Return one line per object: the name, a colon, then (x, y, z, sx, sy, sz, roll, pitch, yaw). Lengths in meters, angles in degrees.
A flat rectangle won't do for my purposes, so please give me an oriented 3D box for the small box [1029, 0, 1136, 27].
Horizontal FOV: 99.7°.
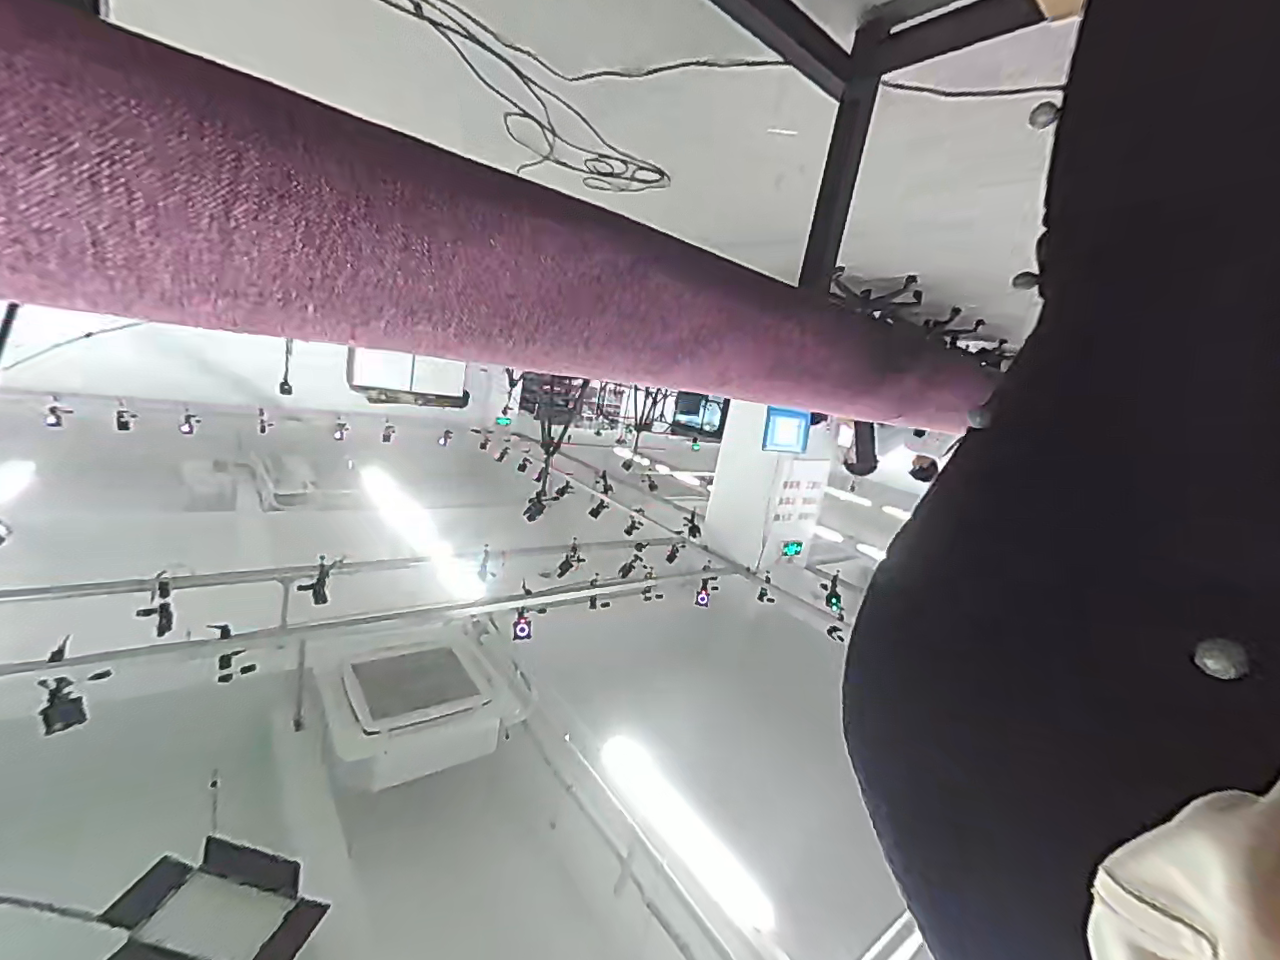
small box: (0.573, -0.699, 0.636, 0.179, 0.176, 0.168, 2, -165, -38)
